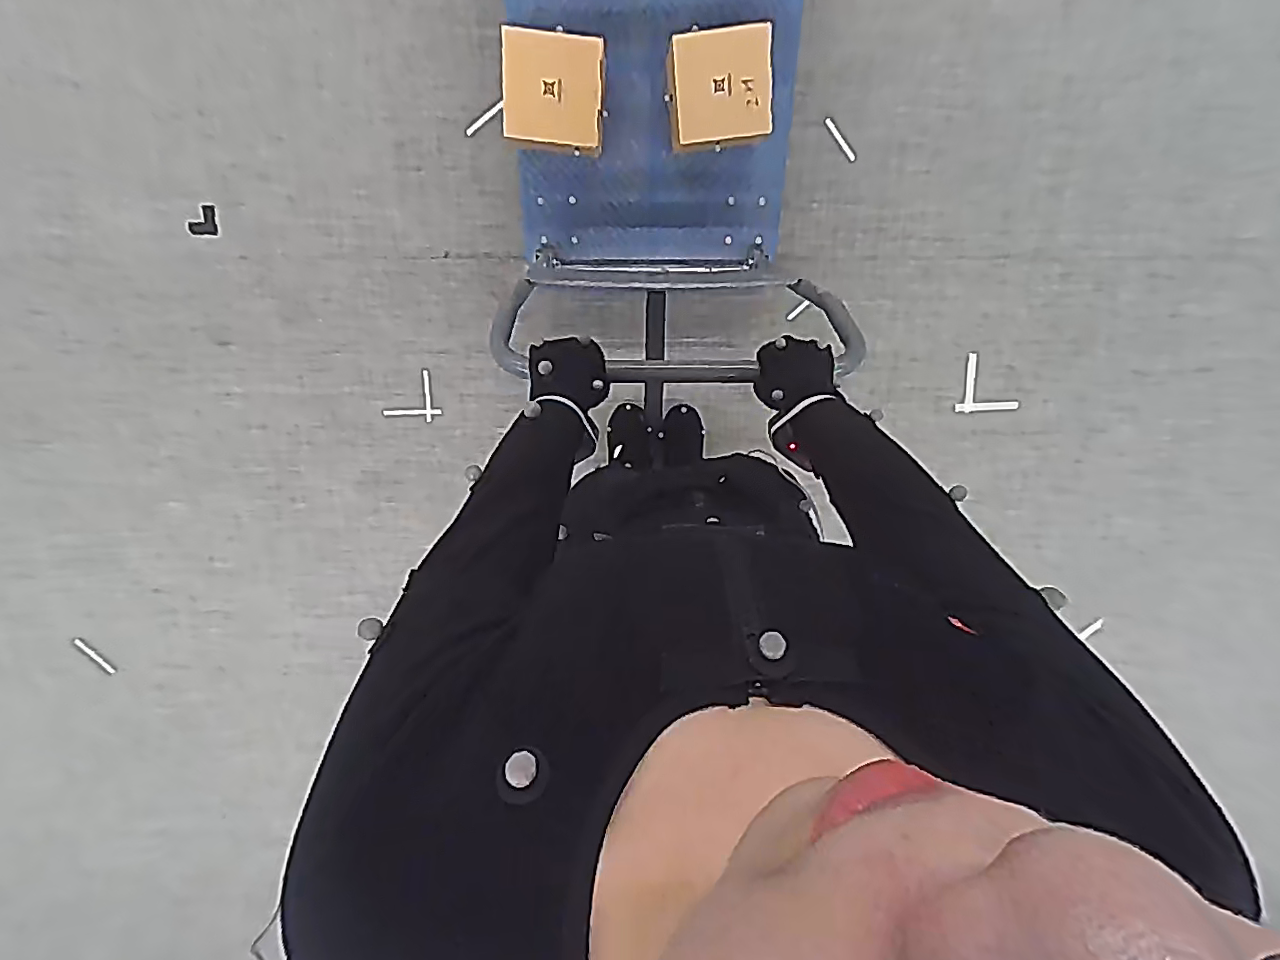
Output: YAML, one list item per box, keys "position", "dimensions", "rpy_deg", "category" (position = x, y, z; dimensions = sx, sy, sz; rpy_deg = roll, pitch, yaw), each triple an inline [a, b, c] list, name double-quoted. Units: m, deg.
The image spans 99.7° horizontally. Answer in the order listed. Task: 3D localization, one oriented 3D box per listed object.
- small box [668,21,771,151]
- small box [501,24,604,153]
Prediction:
- position: [0.147, -0.743, 1.038]
  dimensions: [0.179, 0.176, 0.168]
  rpy_deg: [-6, 117, 2]
  category: "small box"
- position: [-0.161, -0.734, 1.034]
  dimensions: [0.179, 0.176, 0.168]
  rpy_deg: [3, 116, -5]
  category: "small box"
